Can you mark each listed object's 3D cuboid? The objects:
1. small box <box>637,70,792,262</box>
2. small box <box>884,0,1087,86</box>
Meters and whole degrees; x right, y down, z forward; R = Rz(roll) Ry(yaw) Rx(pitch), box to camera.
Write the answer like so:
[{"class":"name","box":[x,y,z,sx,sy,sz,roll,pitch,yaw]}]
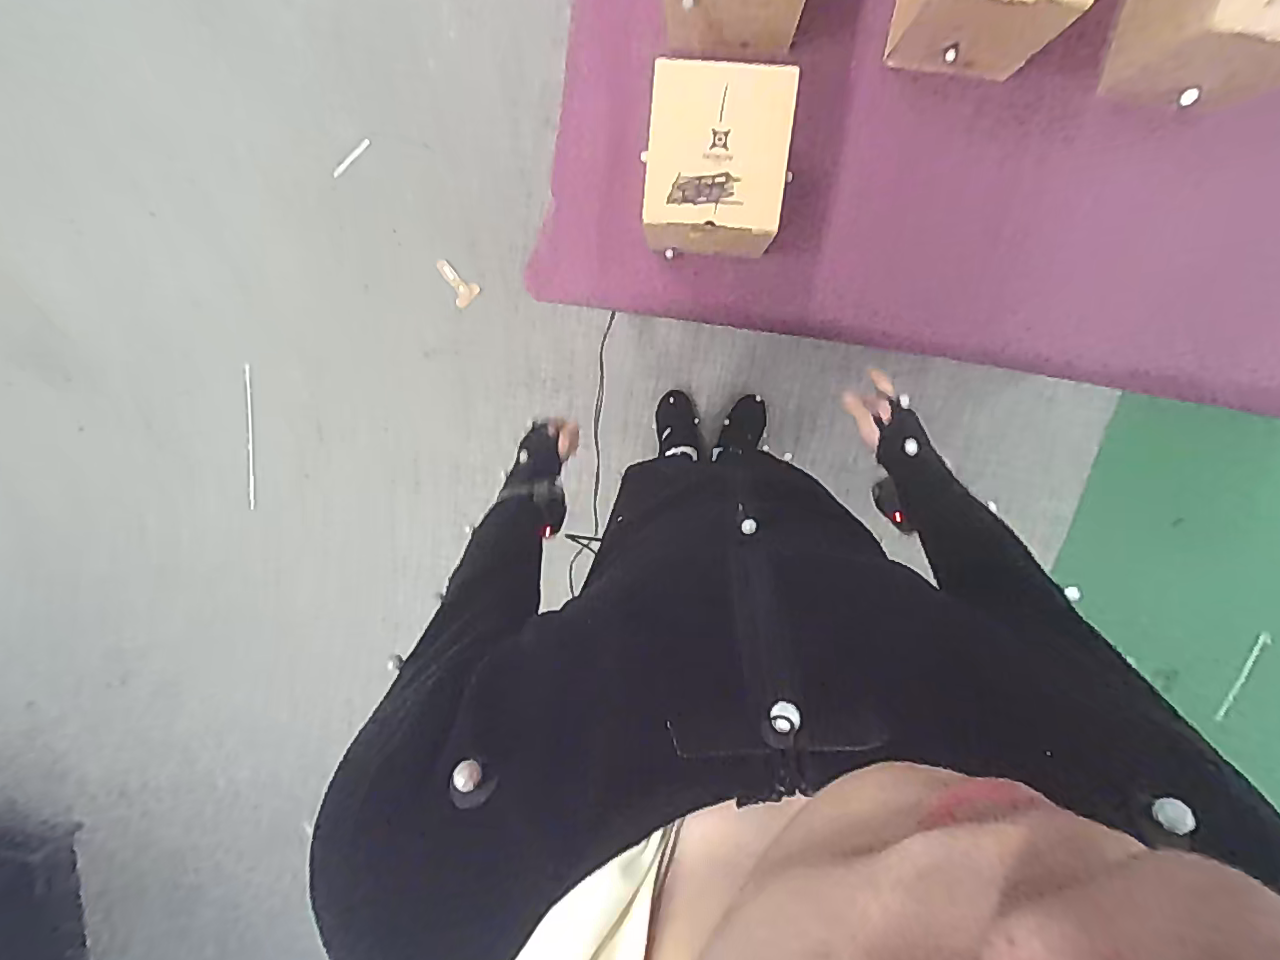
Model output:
[{"class":"small box","box":[0.093,-0.398,0.716,0.168,0.176,0.179,7,102,4]},{"class":"small box","box":[0.411,-0.609,0.637,0.168,0.176,0.179,9,105,4]}]
